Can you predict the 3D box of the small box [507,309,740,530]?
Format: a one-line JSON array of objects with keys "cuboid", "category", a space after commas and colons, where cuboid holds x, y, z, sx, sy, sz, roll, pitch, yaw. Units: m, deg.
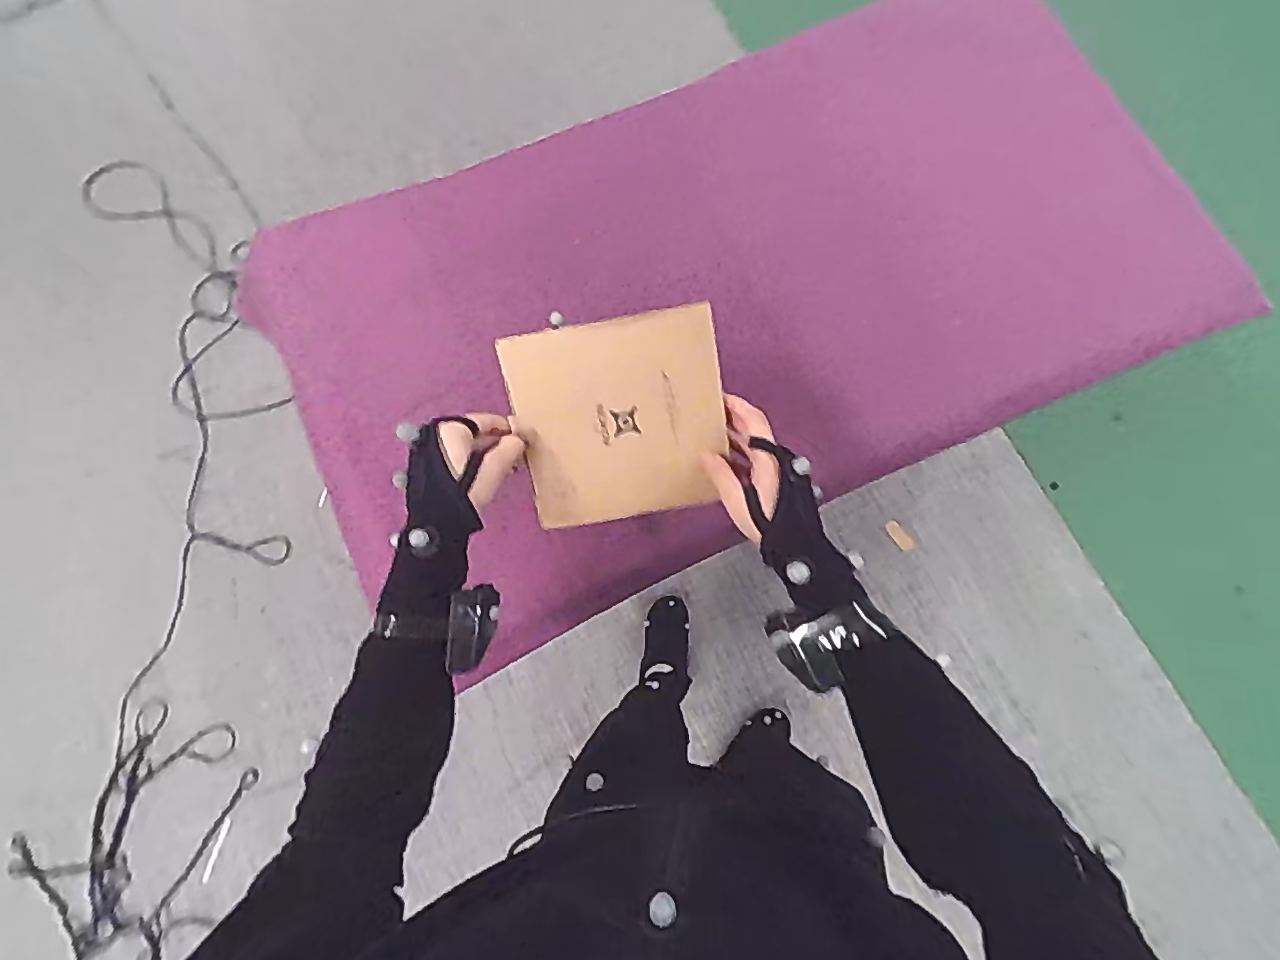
[{"cuboid": [-0.010, -0.065, 0.520, 0.179, 0.176, 0.168, -8, 106, 1], "category": "small box"}]
